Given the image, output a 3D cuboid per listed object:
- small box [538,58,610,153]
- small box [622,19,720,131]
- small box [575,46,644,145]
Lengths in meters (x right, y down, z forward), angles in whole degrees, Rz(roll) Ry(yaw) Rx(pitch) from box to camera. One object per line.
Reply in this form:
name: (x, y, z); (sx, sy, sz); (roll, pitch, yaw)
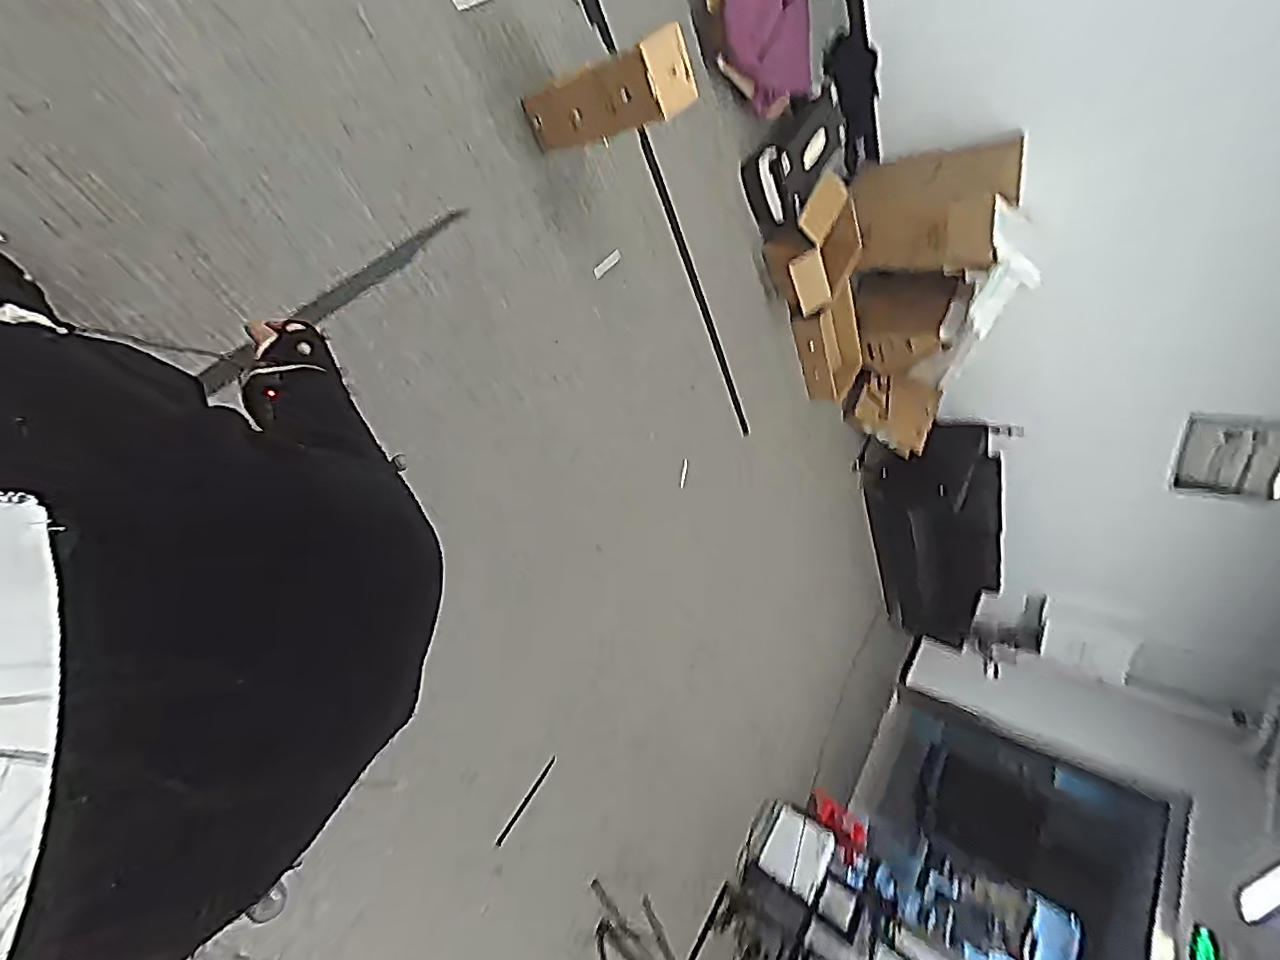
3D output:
small box: (-0.167, -1.106, 1.603); (0.179, 0.176, 0.168); (-51, 133, -25)
small box: (0.074, -1.033, 1.392); (0.179, 0.176, 0.168); (-51, 133, -26)
small box: (-0.046, -1.064, 1.498); (0.179, 0.176, 0.168); (-52, 133, -26)
